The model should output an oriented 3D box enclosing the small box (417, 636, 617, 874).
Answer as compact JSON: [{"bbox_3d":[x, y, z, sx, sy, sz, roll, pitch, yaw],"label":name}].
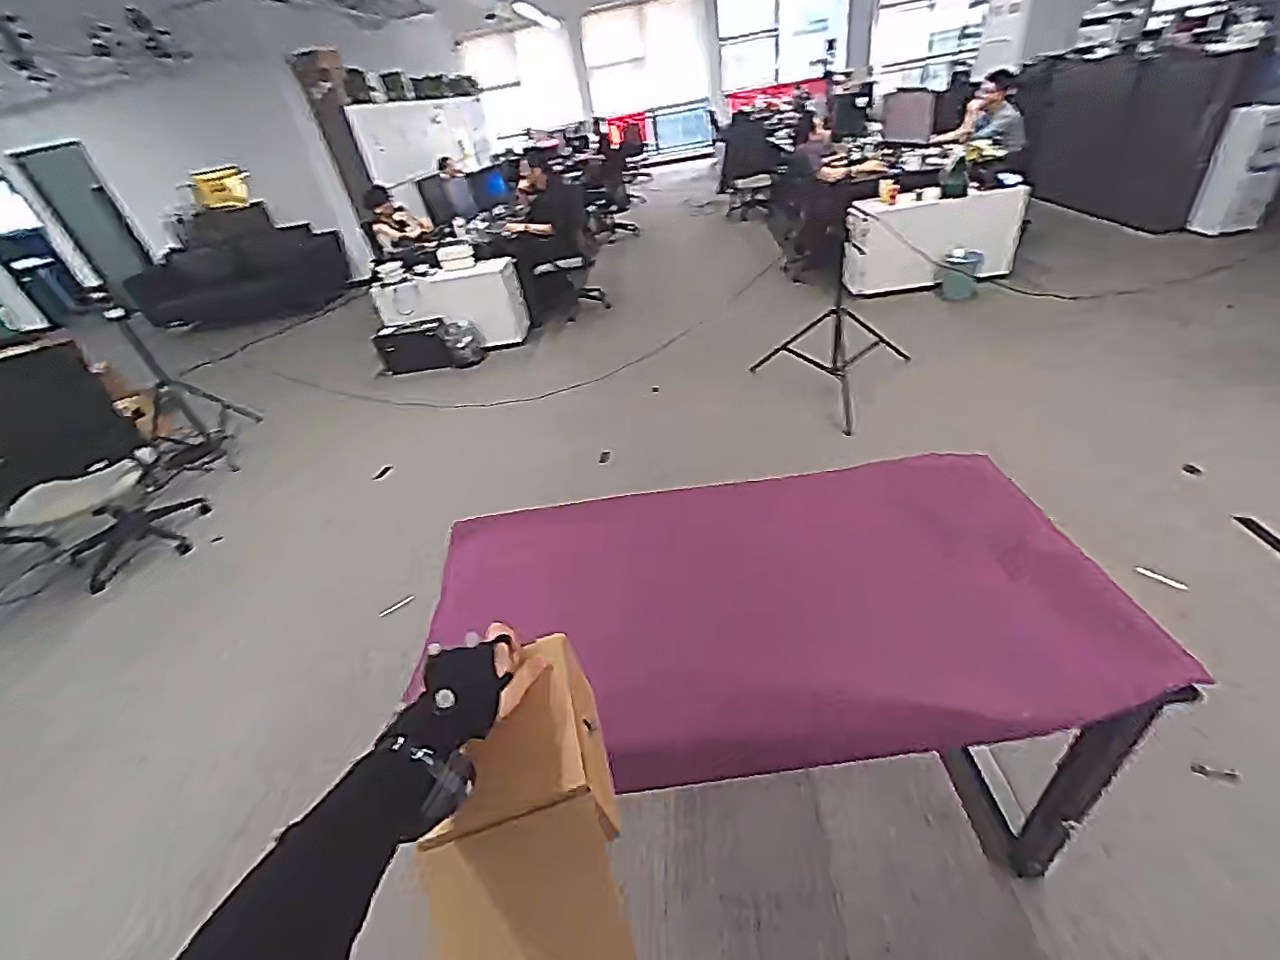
[{"bbox_3d":[-0.131,0.312,0.606,0.168,0.176,0.179,-16,44,-5],"label":"small box"}]
